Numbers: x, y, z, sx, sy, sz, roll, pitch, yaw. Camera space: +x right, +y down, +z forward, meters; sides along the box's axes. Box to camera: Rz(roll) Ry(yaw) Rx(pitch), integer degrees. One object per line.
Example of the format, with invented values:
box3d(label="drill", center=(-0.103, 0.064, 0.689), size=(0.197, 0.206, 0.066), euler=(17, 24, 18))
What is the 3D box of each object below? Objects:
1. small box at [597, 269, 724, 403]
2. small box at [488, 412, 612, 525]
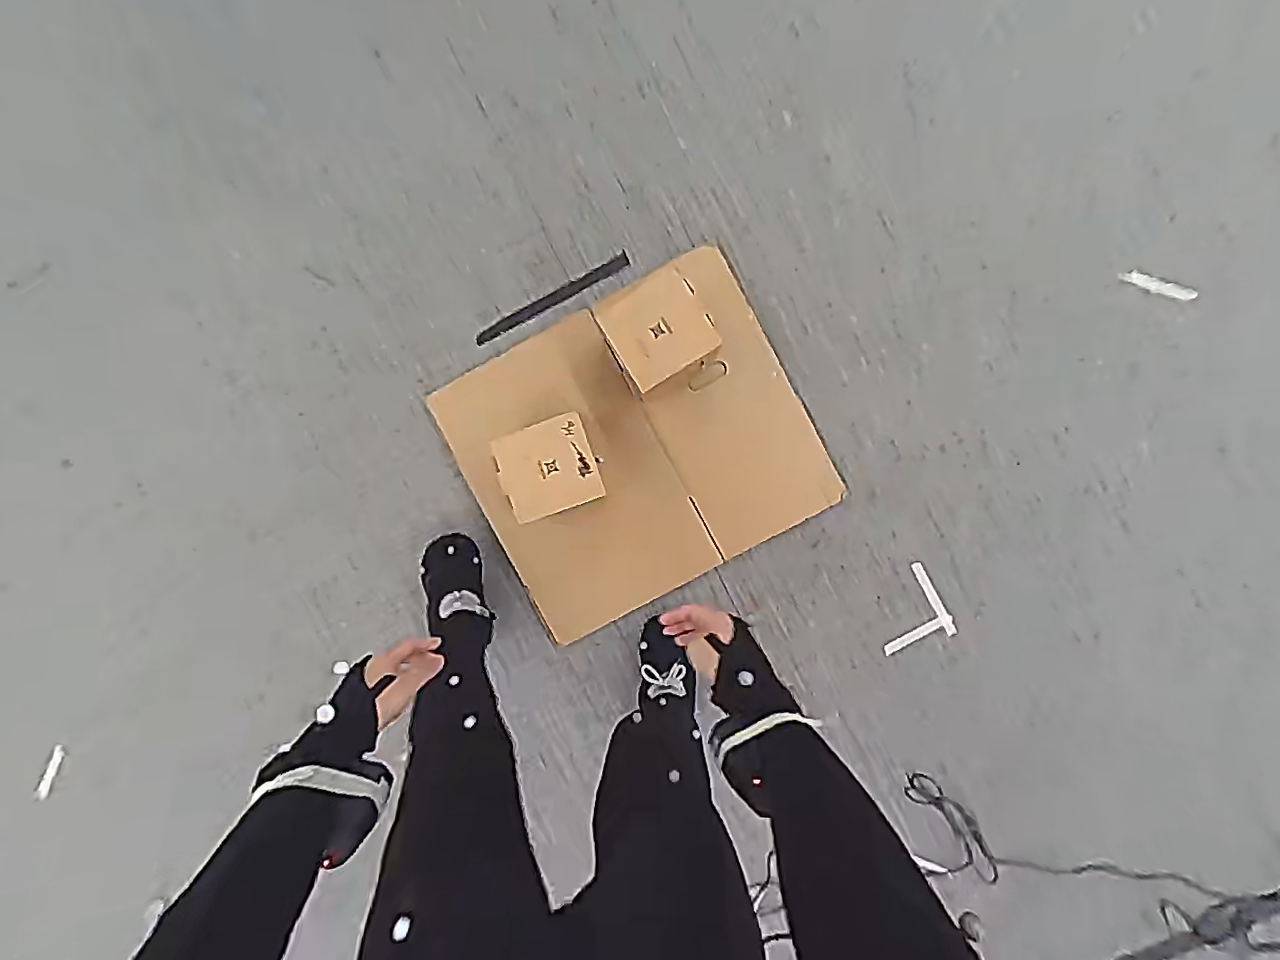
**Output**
box3d(label="small box", center=(0.036, -0.266, 1.042), size=(0.179, 0.176, 0.168), euler=(-33, 90, 2))
box3d(label="small box", center=(-0.165, -0.023, 1.054), size=(0.179, 0.176, 0.168), euler=(-19, 93, 3))
